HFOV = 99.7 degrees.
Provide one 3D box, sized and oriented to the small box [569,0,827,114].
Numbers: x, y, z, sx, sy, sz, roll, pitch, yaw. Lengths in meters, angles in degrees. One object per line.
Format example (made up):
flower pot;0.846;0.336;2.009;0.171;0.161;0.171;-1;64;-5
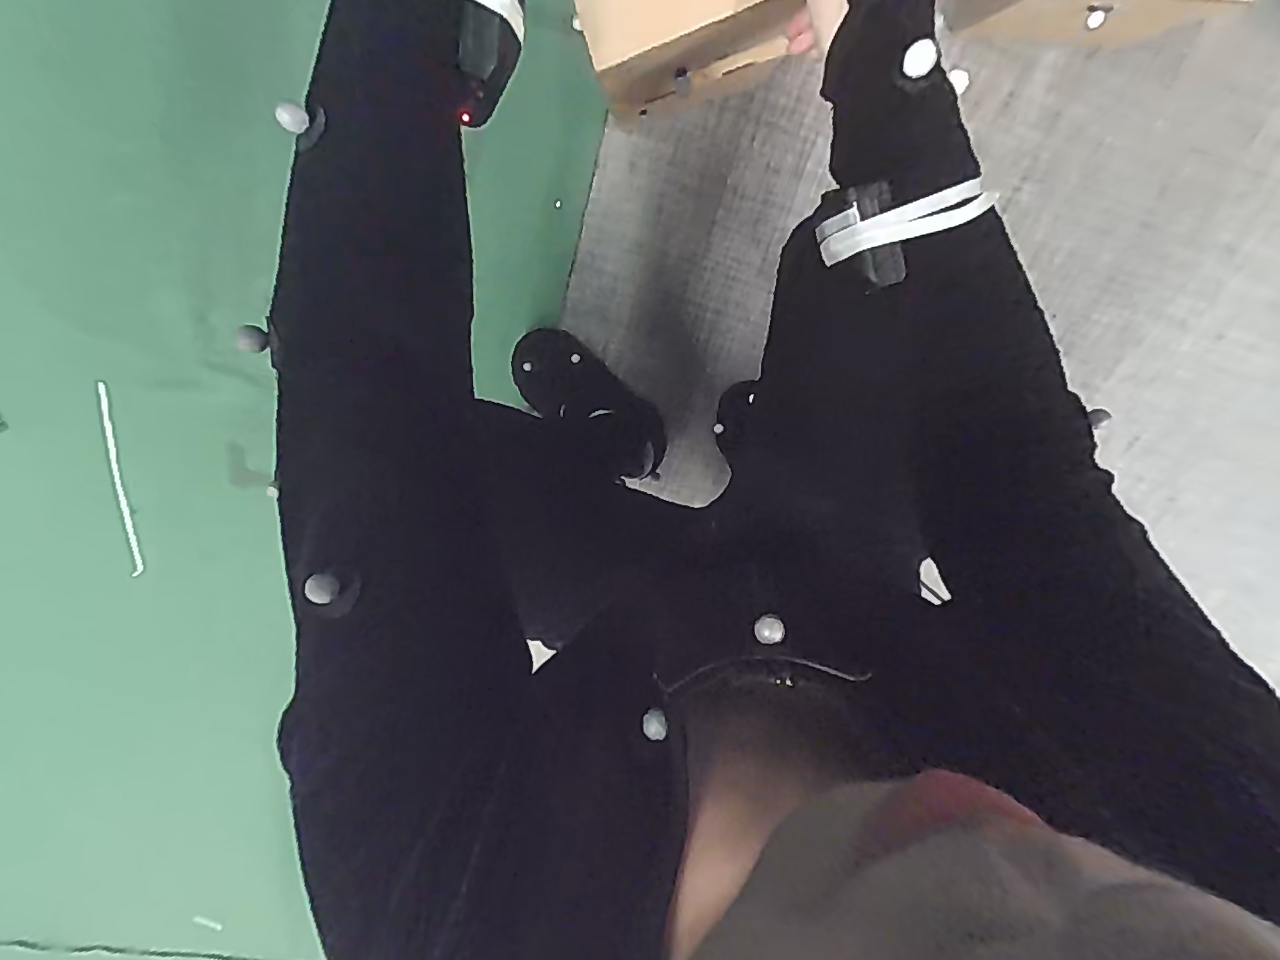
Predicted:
small box;0.023;-0.392;0.379;0.168;0.176;0.179;-15;115;9
